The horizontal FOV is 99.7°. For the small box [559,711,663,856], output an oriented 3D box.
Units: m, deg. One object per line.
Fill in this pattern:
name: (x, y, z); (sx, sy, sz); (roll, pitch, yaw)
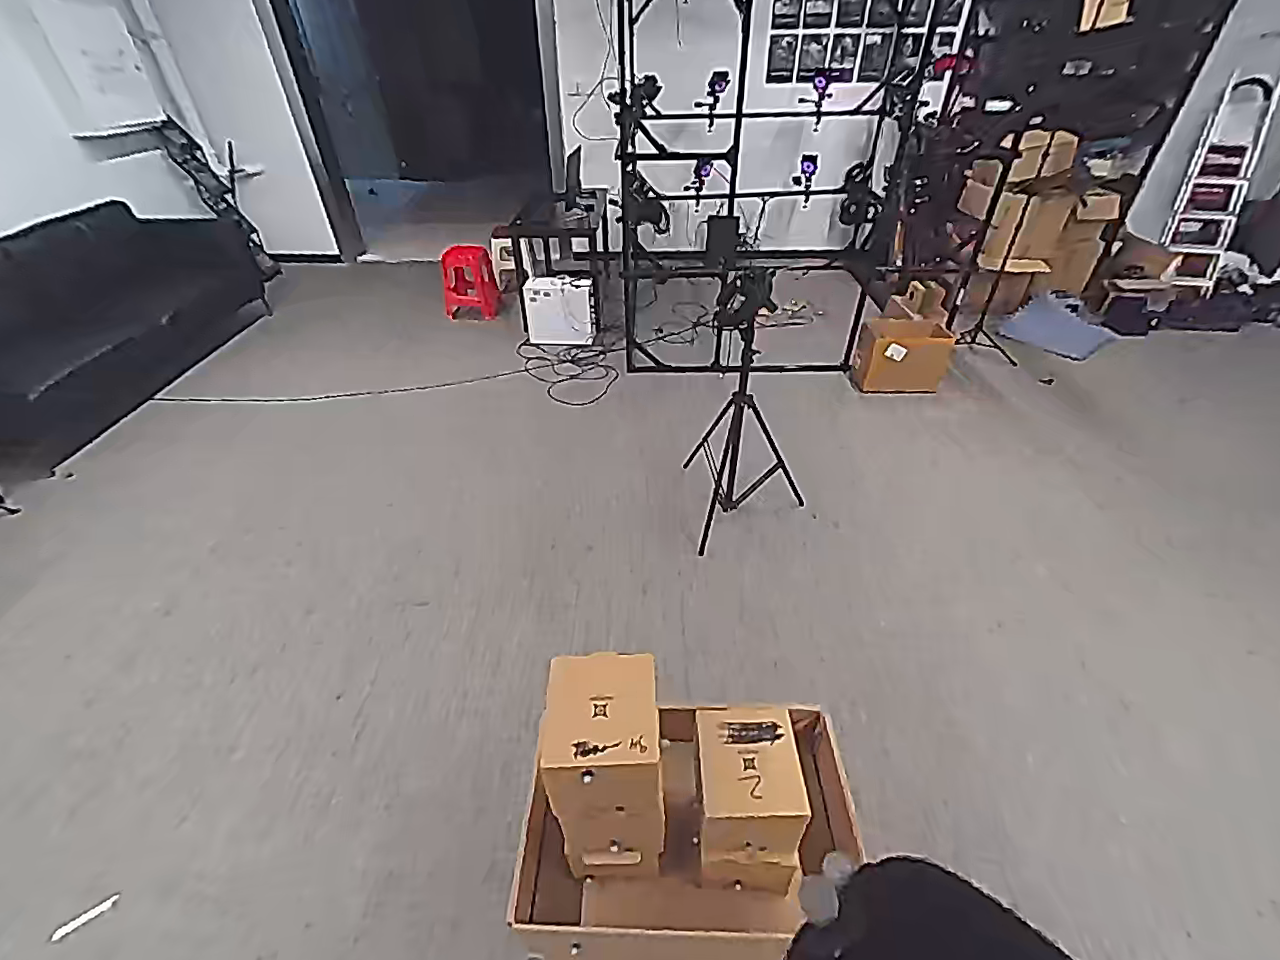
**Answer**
small box: (-0.046, 0.530, 0.949); (0.168, 0.176, 0.179); (-2, 39, 0)

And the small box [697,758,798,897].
small box: (0.195, 0.664, 1.037); (0.168, 0.176, 0.179); (0, 39, 4)

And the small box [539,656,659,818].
small box: (-0.056, 0.400, 0.848); (0.168, 0.176, 0.179); (-2, 37, 0)
